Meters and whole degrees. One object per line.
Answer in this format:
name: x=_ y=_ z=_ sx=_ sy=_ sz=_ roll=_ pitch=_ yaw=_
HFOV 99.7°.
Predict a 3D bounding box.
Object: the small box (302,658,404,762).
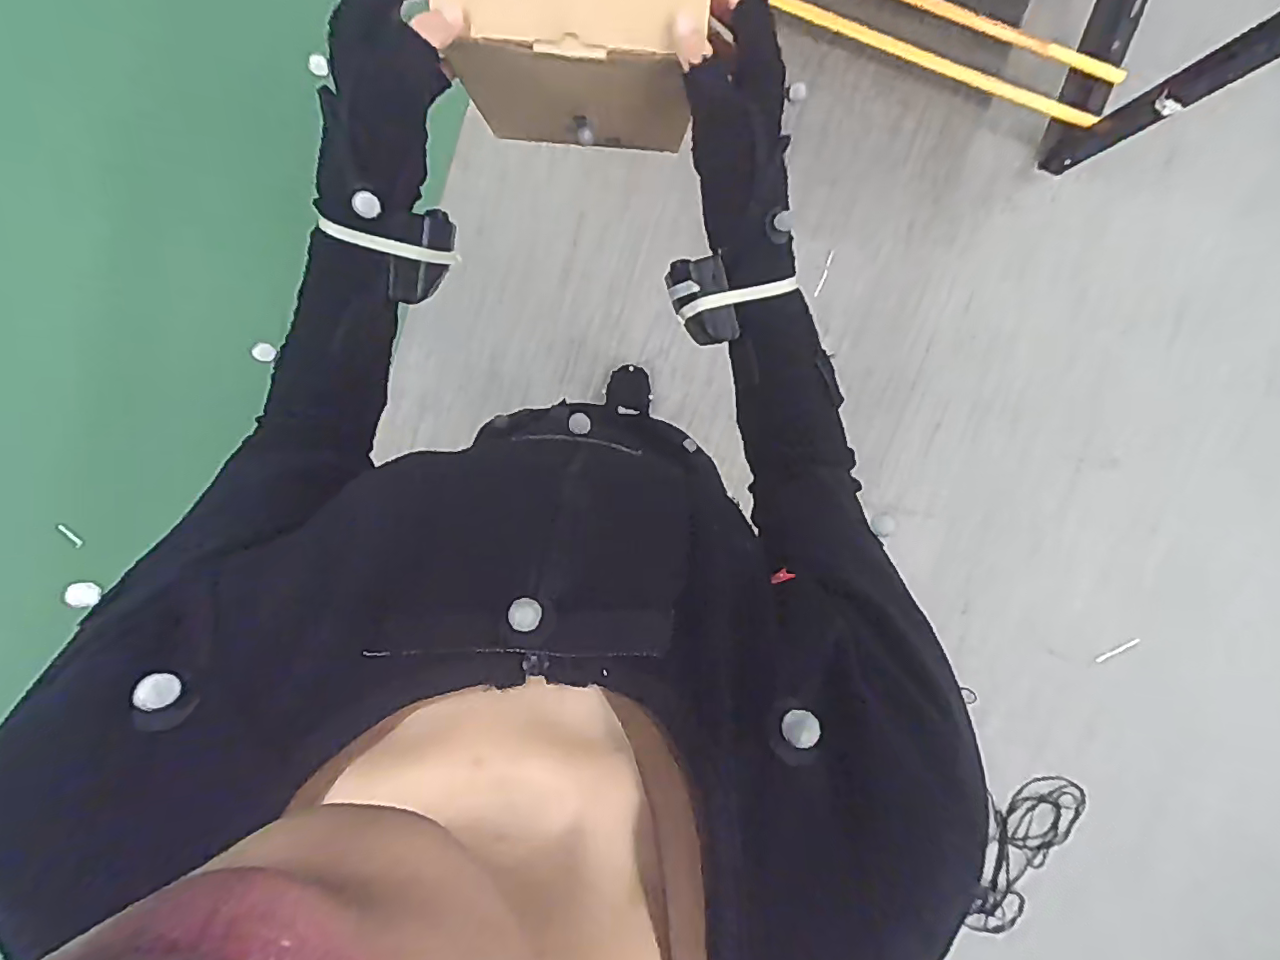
small box: x=-0.760 y=0.609 z=1.454 sx=0.168 sy=0.176 sz=0.179 roll=20 pitch=97 yaw=-4
